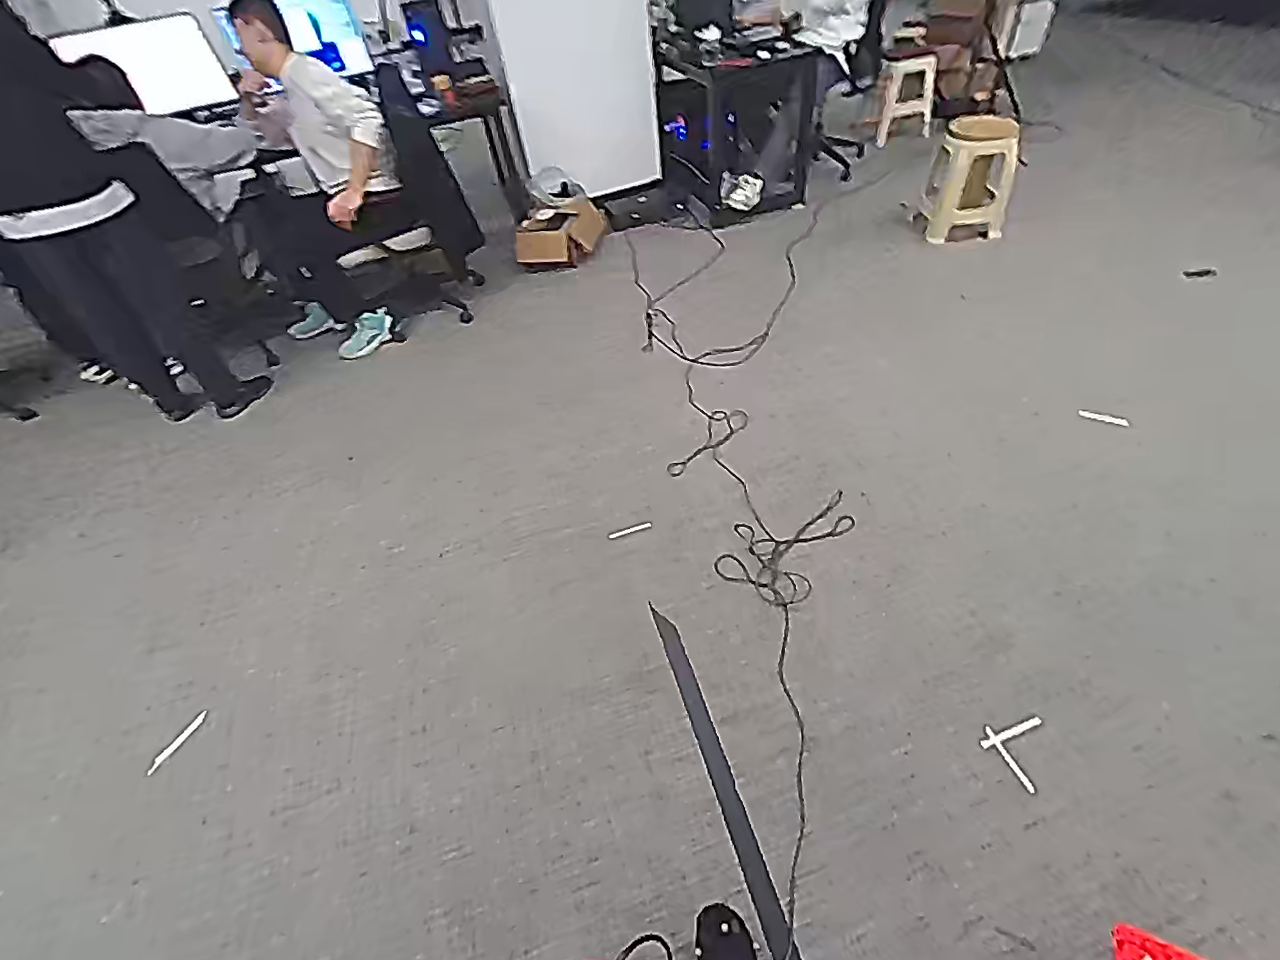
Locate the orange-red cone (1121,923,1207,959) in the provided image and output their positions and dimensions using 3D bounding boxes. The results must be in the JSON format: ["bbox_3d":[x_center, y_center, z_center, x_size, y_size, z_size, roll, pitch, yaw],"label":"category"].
[{"bbox_3d":[0.880,0.765,0.753,0.198,0.360,0.199,17,54,24],"label":"orange-red cone"}]
